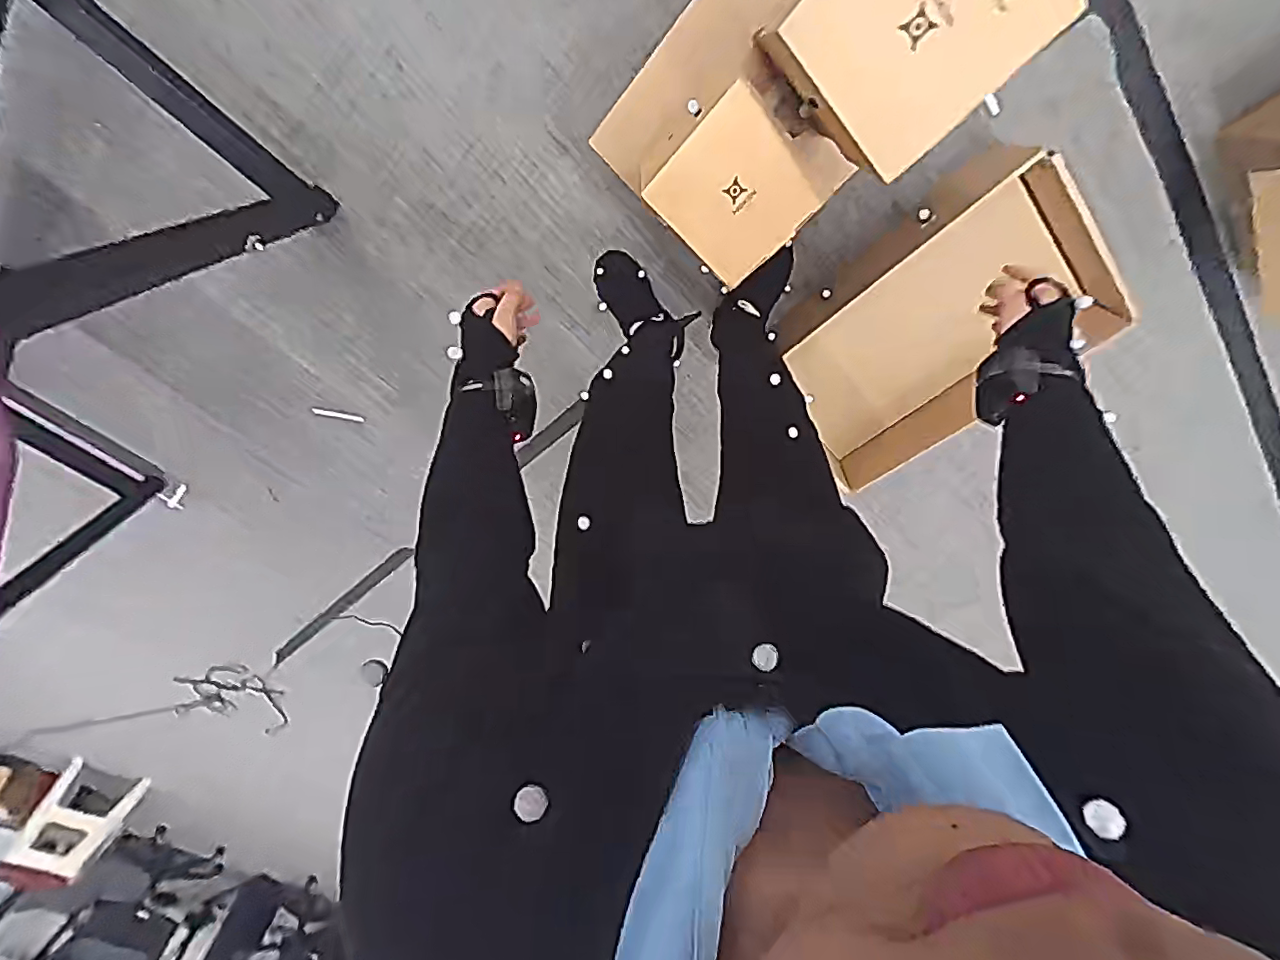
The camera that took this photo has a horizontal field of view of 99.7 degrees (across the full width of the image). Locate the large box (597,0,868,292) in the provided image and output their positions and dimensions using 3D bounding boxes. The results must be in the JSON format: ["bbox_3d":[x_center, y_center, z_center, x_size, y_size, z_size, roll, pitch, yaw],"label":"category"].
[{"bbox_3d":[0.189,-0.597,0.865,0.320,0.320,0.408,39,121,-20],"label":"large box"}]

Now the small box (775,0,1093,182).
[{"bbox_3d":[0.238,-0.411,0.488,0.168,0.176,0.179,39,121,-22],"label":"small box"}]
